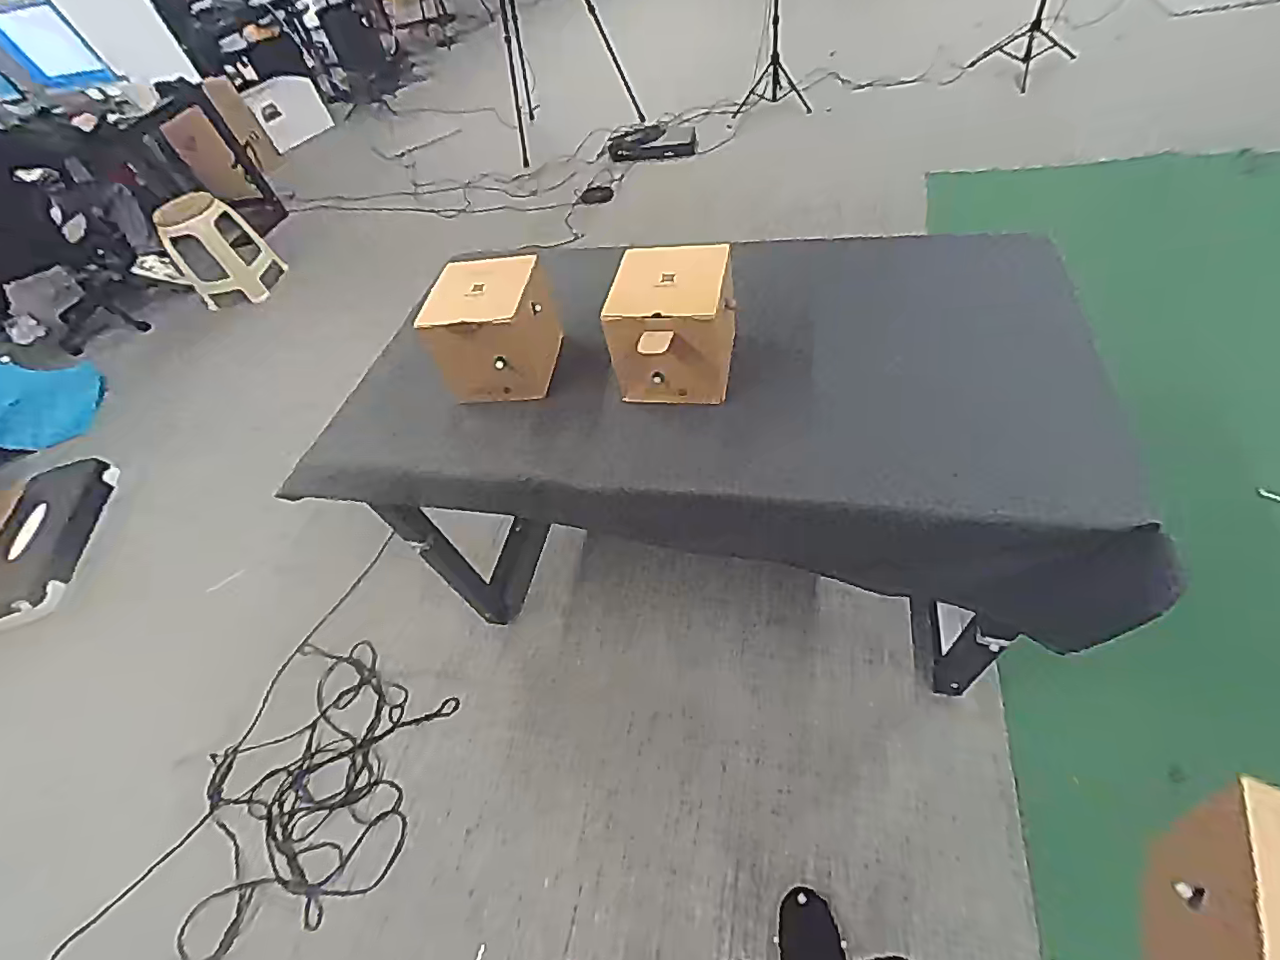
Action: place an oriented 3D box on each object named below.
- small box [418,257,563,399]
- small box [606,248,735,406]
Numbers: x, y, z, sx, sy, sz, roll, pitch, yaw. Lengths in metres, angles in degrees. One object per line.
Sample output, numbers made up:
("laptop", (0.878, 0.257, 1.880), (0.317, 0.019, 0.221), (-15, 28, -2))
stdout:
("small box", (-0.240, -0.252, 0.925), (0.168, 0.176, 0.179), (0, 52, 10))
("small box", (0.059, -0.240, 0.850), (0.168, 0.176, 0.179), (4, 54, 15))
